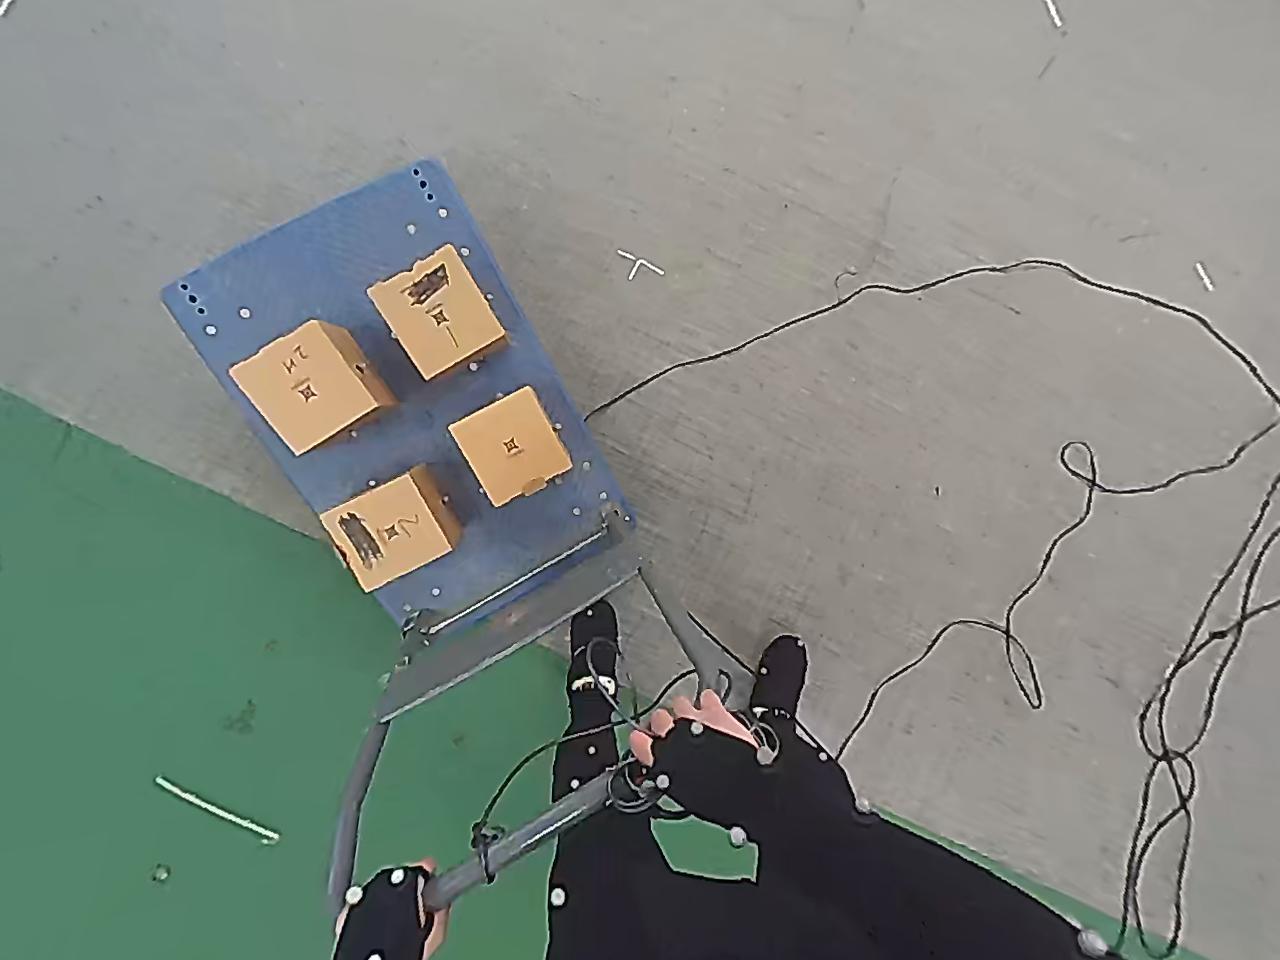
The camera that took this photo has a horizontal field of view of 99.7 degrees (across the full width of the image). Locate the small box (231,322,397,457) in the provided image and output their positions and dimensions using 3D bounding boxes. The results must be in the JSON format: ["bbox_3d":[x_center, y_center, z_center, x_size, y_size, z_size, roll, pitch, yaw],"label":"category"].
[{"bbox_3d":[-0.585,-0.167,1.000,0.168,0.176,0.179,-34,103,-4],"label":"small box"}]

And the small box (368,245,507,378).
[{"bbox_3d":[-0.368,-0.304,1.018,0.168,0.176,0.179,-32,104,-3],"label":"small box"}]

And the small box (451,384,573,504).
[{"bbox_3d":[-0.251,-0.076,1.079,0.168,0.176,0.179,-29,104,-5],"label":"small box"}]
